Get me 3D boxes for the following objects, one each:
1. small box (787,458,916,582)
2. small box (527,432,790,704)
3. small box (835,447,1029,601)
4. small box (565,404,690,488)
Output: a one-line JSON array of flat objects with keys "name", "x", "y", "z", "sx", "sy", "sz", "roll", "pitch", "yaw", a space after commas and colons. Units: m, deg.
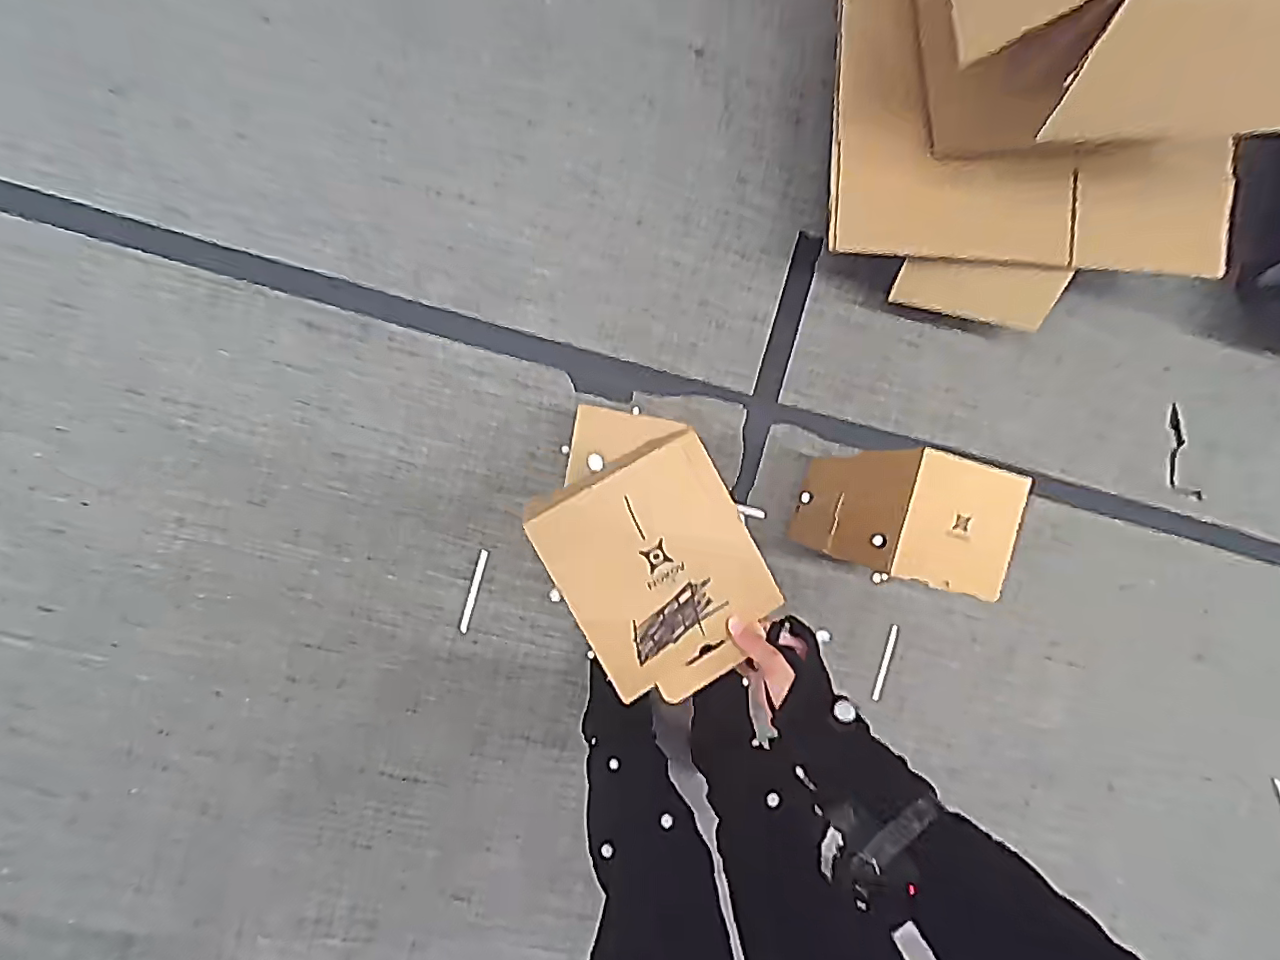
[{"name": "small box", "x": 0.392, "y": 0.062, "z": 0.959, "sx": 0.179, "sy": 0.176, "sz": 0.168, "roll": 20, "pitch": 89, "yaw": -8}, {"name": "small box", "x": 0.007, "y": 0.069, "z": 0.521, "sx": 0.168, "sy": 0.176, "sz": 0.179, "roll": -29, "pitch": 96, "yaw": -9}, {"name": "small box", "x": 0.416, "y": 0.056, "z": 0.798, "sx": 0.168, "sy": 0.176, "sz": 0.179, "roll": 15, "pitch": 91, "yaw": -8}, {"name": "small box", "x": -0.029, "y": -0.025, "z": 0.906, "sx": 0.179, "sy": 0.176, "sz": 0.168, "roll": 10, "pitch": 90, "yaw": -6}]
